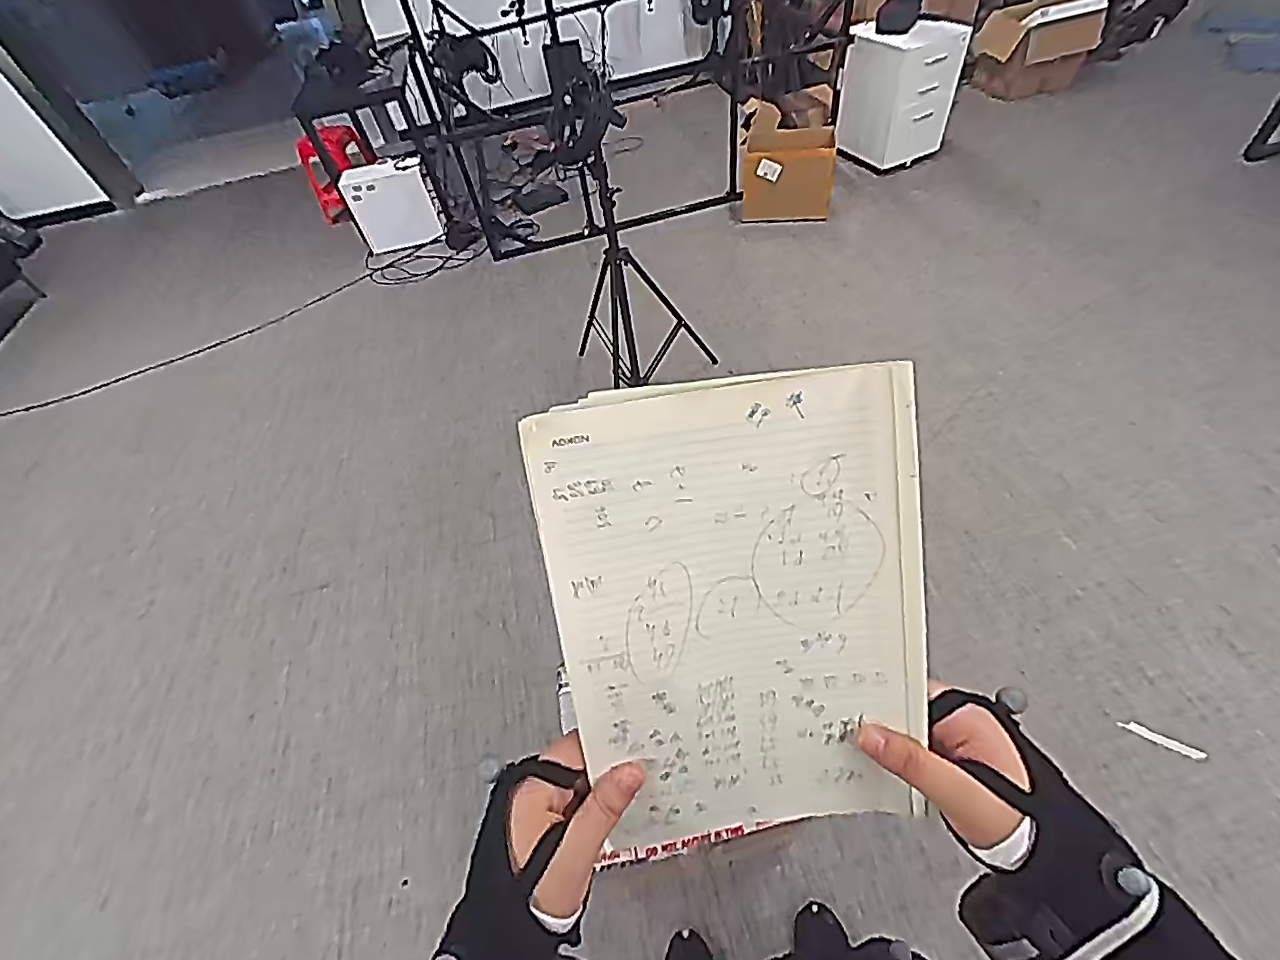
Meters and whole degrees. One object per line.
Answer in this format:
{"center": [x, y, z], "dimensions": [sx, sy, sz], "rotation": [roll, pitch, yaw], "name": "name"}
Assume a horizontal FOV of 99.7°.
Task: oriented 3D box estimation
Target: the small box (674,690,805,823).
{"center": [0.159, 0.412, 0.843], "dimensions": [0.179, 0.176, 0.168], "rotation": [-16, 52, -5], "name": "small box"}

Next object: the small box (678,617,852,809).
{"center": [0.148, 0.310, 0.715], "dimensions": [0.168, 0.176, 0.179], "rotation": [-13, 53, -4], "name": "small box"}
